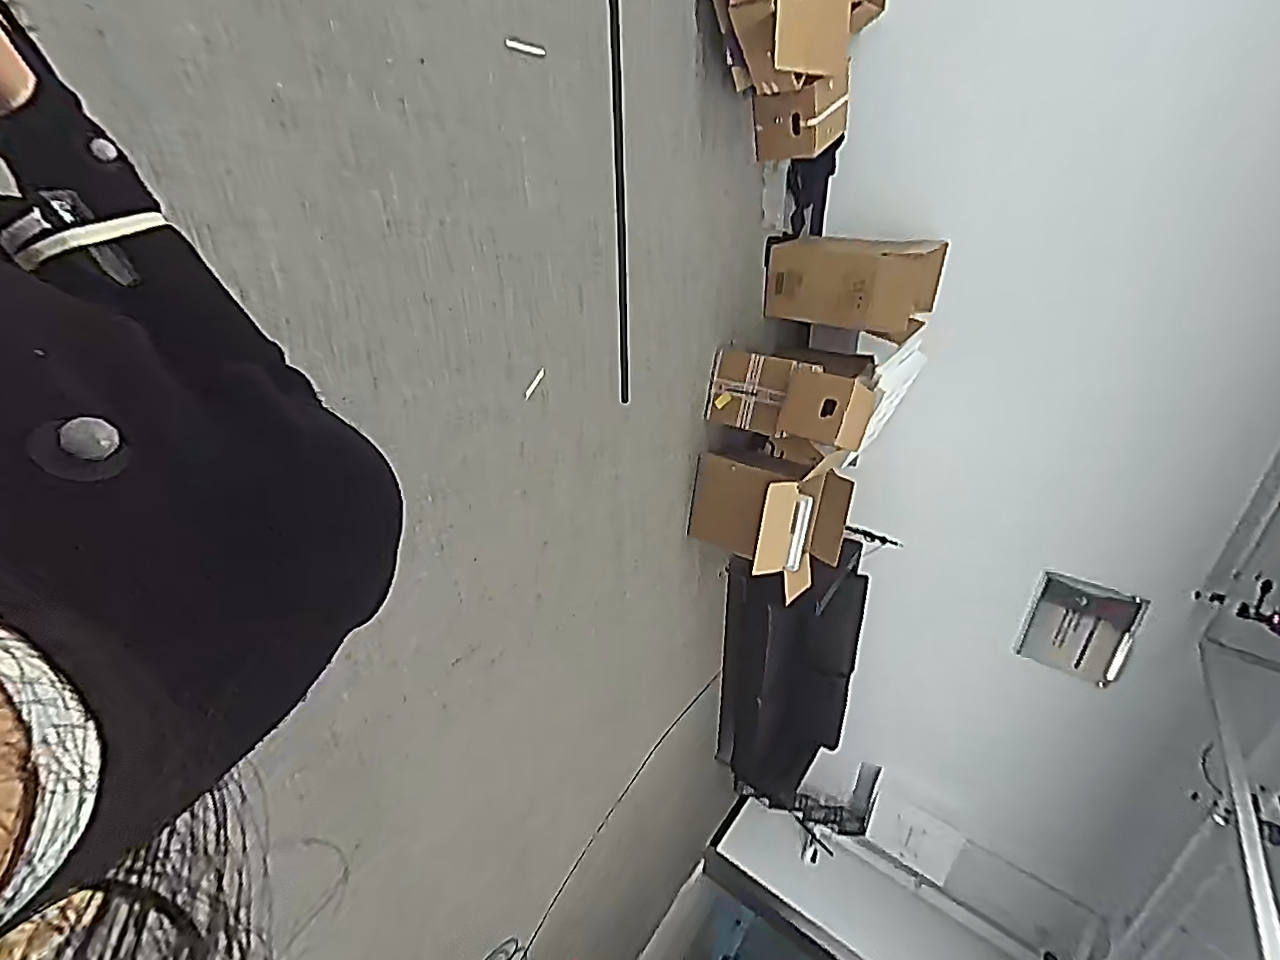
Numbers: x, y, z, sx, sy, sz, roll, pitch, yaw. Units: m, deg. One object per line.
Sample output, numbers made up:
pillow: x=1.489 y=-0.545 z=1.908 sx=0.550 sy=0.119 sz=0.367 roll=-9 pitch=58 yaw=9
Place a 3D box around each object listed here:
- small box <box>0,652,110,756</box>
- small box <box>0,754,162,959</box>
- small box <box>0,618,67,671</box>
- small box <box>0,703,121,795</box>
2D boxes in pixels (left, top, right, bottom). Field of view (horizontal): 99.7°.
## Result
small box: x=-1.093 y=0.435 z=0.944 sx=0.179 sy=0.176 sz=0.168 roll=-29 pitch=127 yaw=-47
small box: x=-0.834 y=0.526 z=0.764 sx=0.168 sy=0.176 sz=0.179 roll=-31 pitch=130 yaw=-46
small box: x=-1.228 y=0.398 z=1.030 sx=0.179 sy=0.176 sz=0.168 roll=-31 pitch=129 yaw=-45
small box: x=-0.967 y=0.482 z=0.850 sx=0.168 sy=0.176 sz=0.179 roll=-29 pitch=127 yaw=-46
